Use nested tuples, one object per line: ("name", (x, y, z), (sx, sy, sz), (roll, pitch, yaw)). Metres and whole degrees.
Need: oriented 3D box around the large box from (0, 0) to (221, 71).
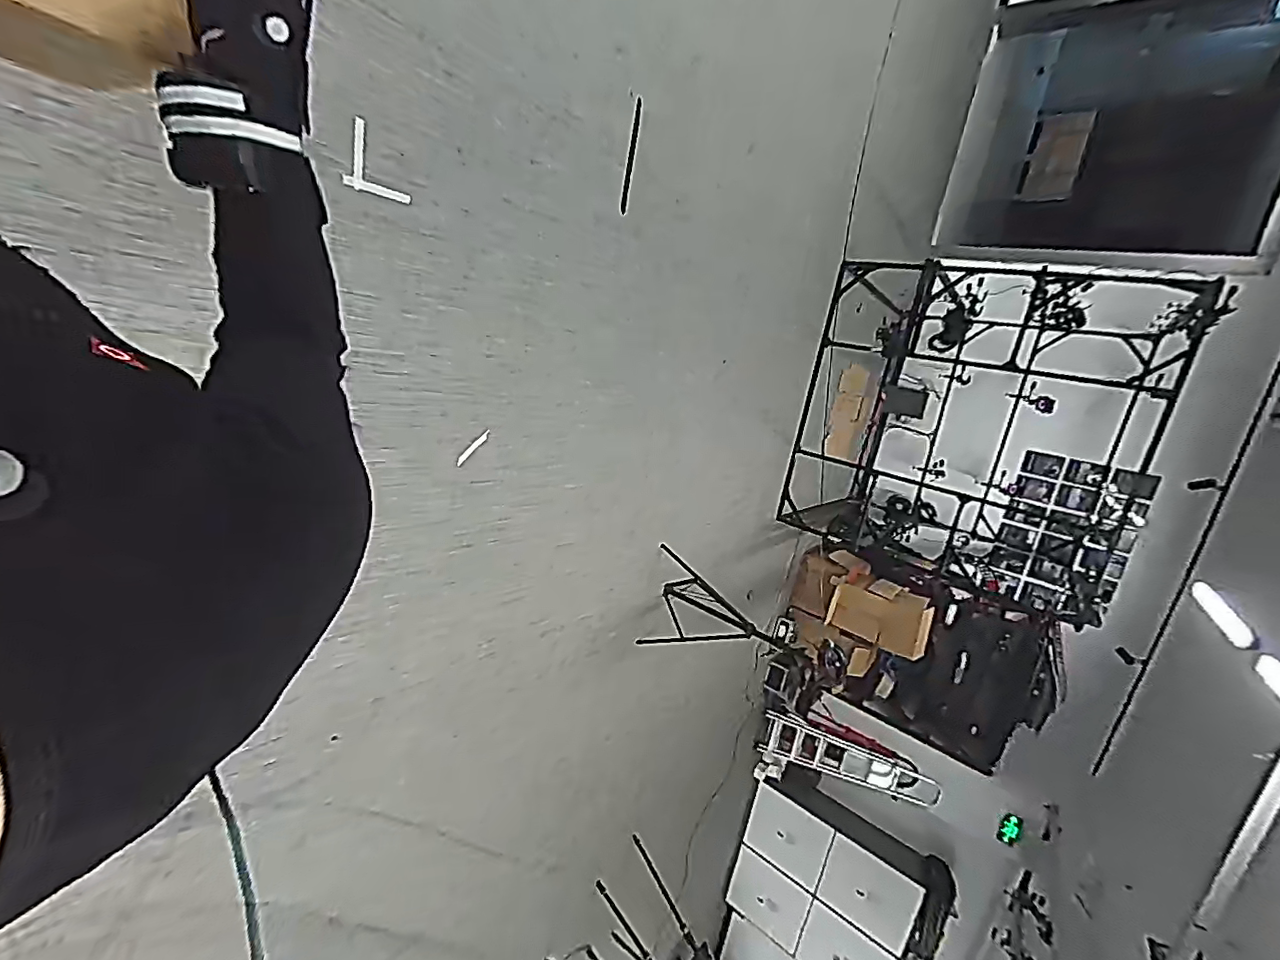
("large box", (-0.501, -0.476, 0.263), (0.408, 0.320, 0.320), (-9, 119, -56))
